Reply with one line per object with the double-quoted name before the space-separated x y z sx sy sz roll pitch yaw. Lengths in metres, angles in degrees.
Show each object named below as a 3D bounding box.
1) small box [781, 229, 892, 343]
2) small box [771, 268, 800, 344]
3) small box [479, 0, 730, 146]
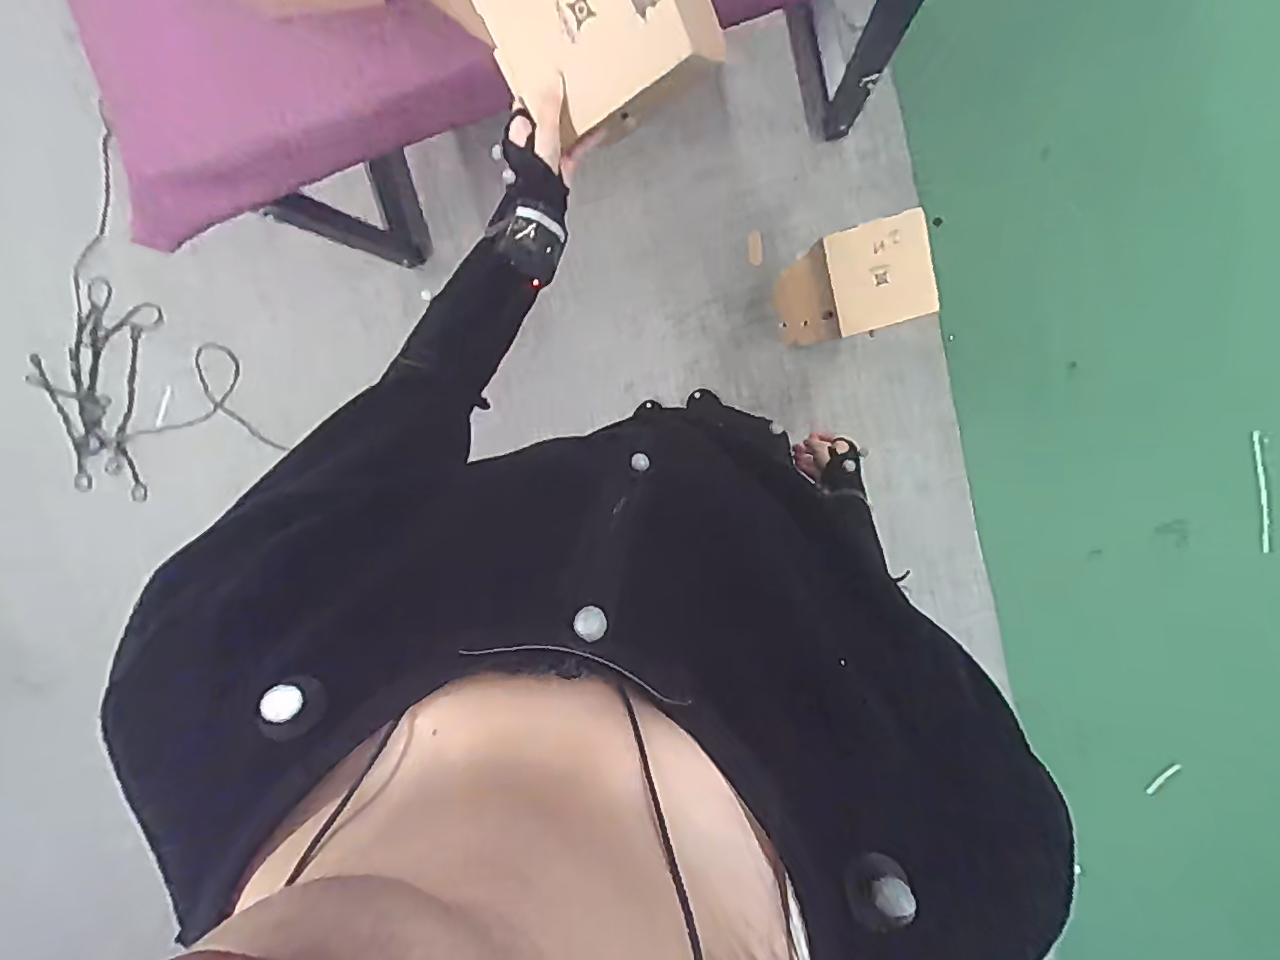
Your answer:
"small box" 0.409 -0.402 1.151 0.168 0.176 0.179 -15 100 9
"small box" 0.422 -0.433 1.310 0.179 0.176 0.168 -12 99 8
"small box" -0.029 -0.474 0.553 0.179 0.176 0.168 -16 116 31
